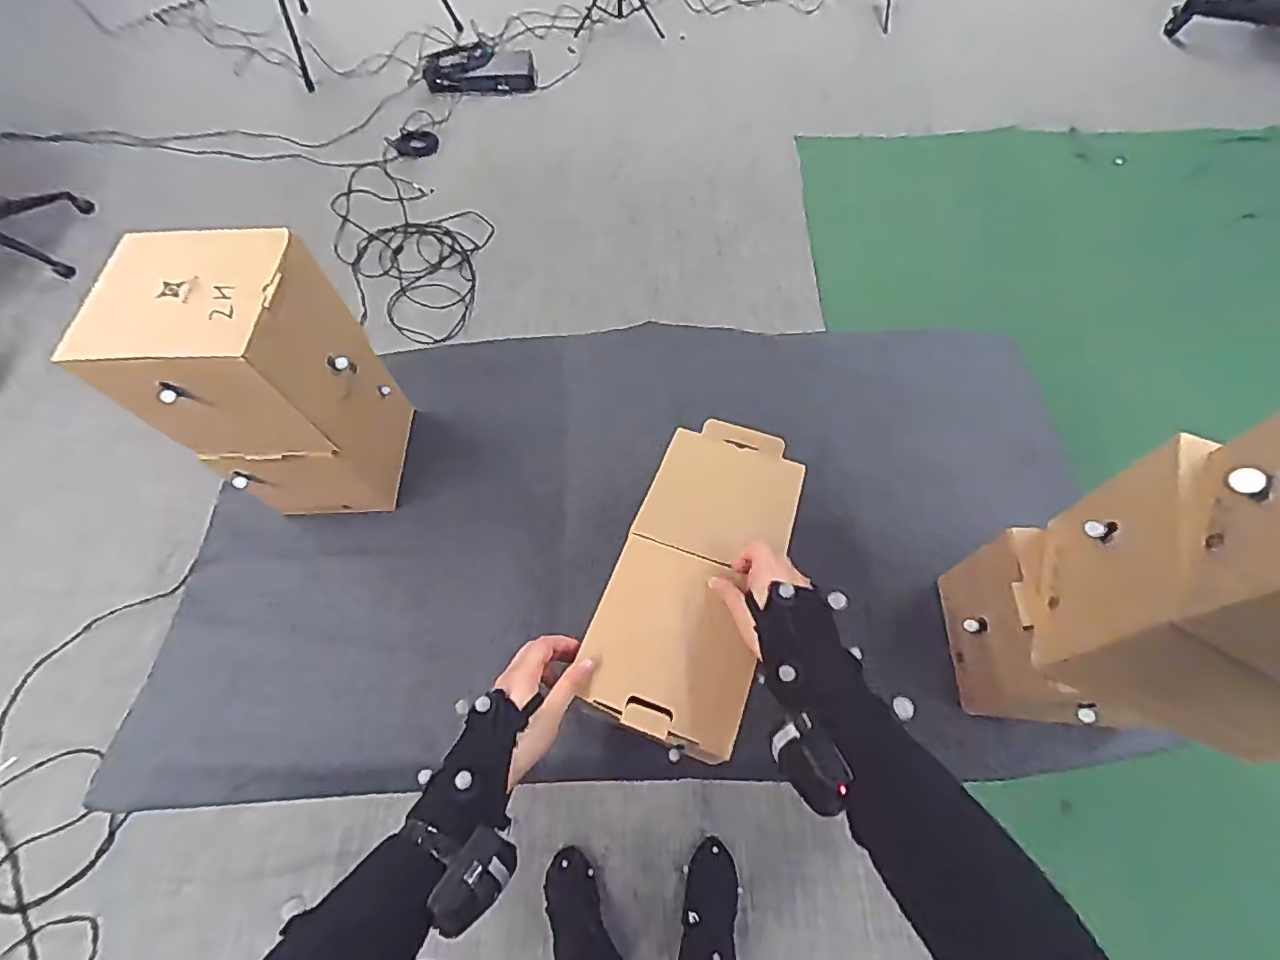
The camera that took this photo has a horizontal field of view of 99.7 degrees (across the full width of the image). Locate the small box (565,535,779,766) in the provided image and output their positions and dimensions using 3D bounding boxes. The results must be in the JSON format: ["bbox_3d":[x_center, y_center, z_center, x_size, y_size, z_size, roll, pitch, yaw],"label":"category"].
[{"bbox_3d":[0.037,0.192,0.591,0.168,0.176,0.179,18,63,10],"label":"small box"}]

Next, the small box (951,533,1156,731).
[{"bbox_3d":[0.464,0.169,0.583,0.179,0.176,0.168,3,61,4],"label":"small box"}]

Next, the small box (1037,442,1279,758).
[{"bbox_3d":[0.462,0.104,0.433,0.179,0.176,0.168,23,63,13],"label":"small box"}]

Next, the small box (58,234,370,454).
[{"bbox_3d":[-0.429,-0.137,0.583,0.179,0.176,0.168,-1,64,1],"label":"small box"}]
